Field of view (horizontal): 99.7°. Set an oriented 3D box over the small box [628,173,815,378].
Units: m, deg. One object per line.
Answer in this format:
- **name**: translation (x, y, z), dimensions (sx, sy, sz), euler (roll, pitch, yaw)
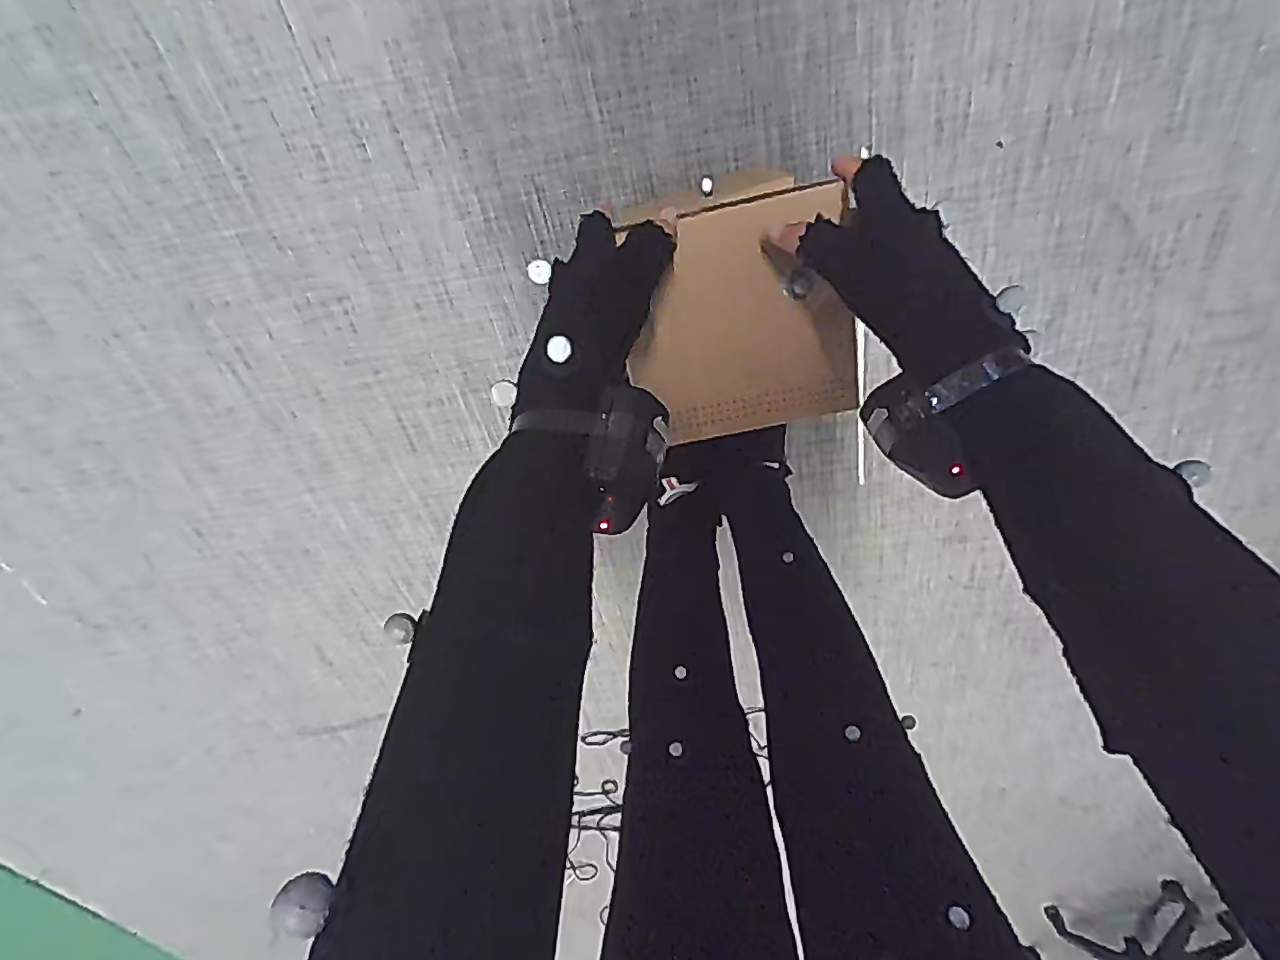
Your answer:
- **small box**: translation (0.089, -0.243, 0.629), dimensions (0.179, 0.176, 0.168), euler (-12, 121, 9)
